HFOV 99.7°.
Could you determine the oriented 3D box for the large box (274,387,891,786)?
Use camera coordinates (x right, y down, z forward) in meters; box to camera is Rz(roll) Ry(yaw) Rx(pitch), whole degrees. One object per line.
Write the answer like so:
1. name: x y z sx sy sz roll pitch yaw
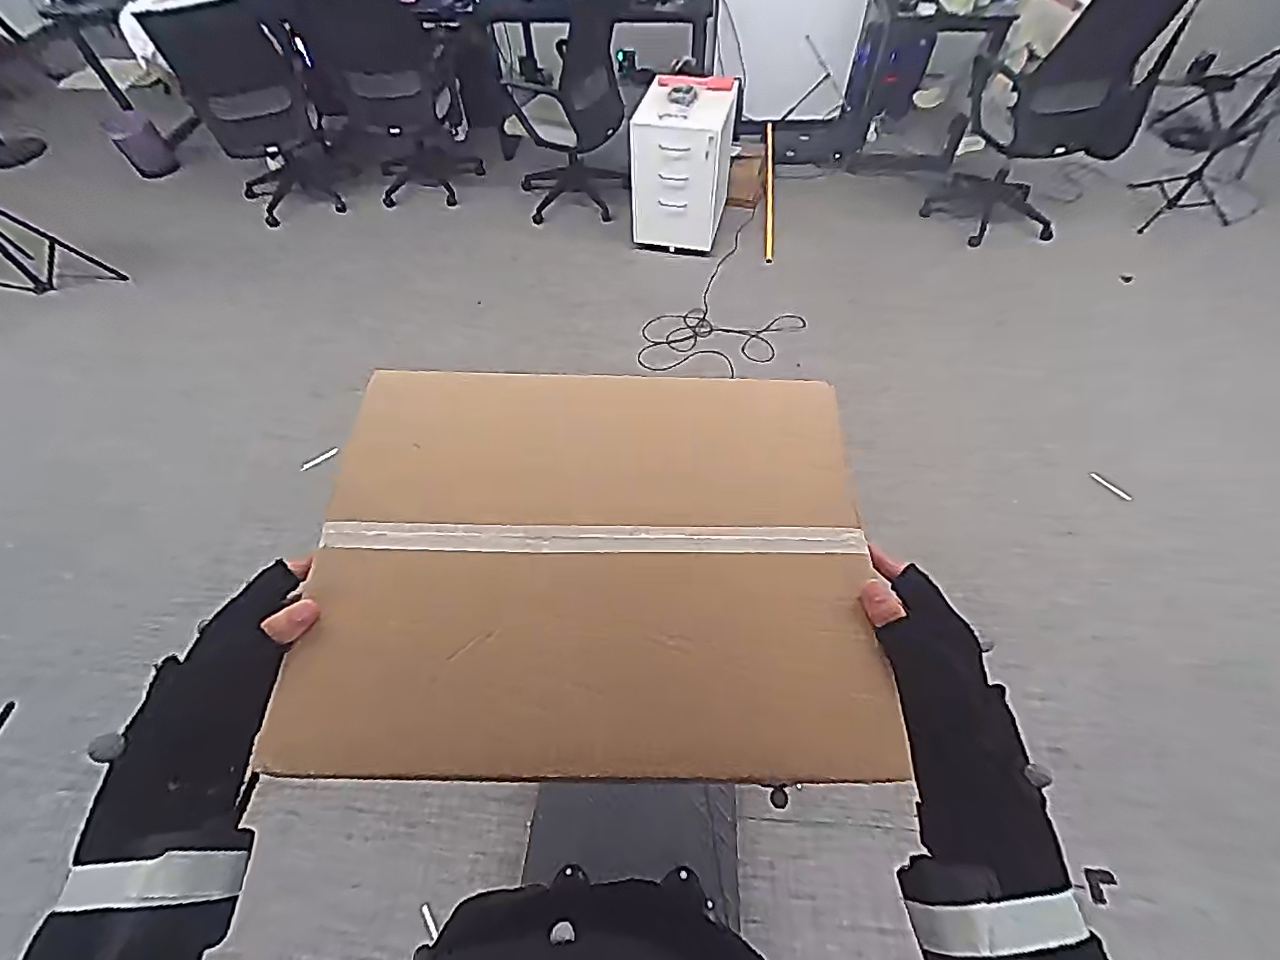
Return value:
1. large box: -0.036 0.124 0.545 0.408 0.320 0.320 2 61 -1
